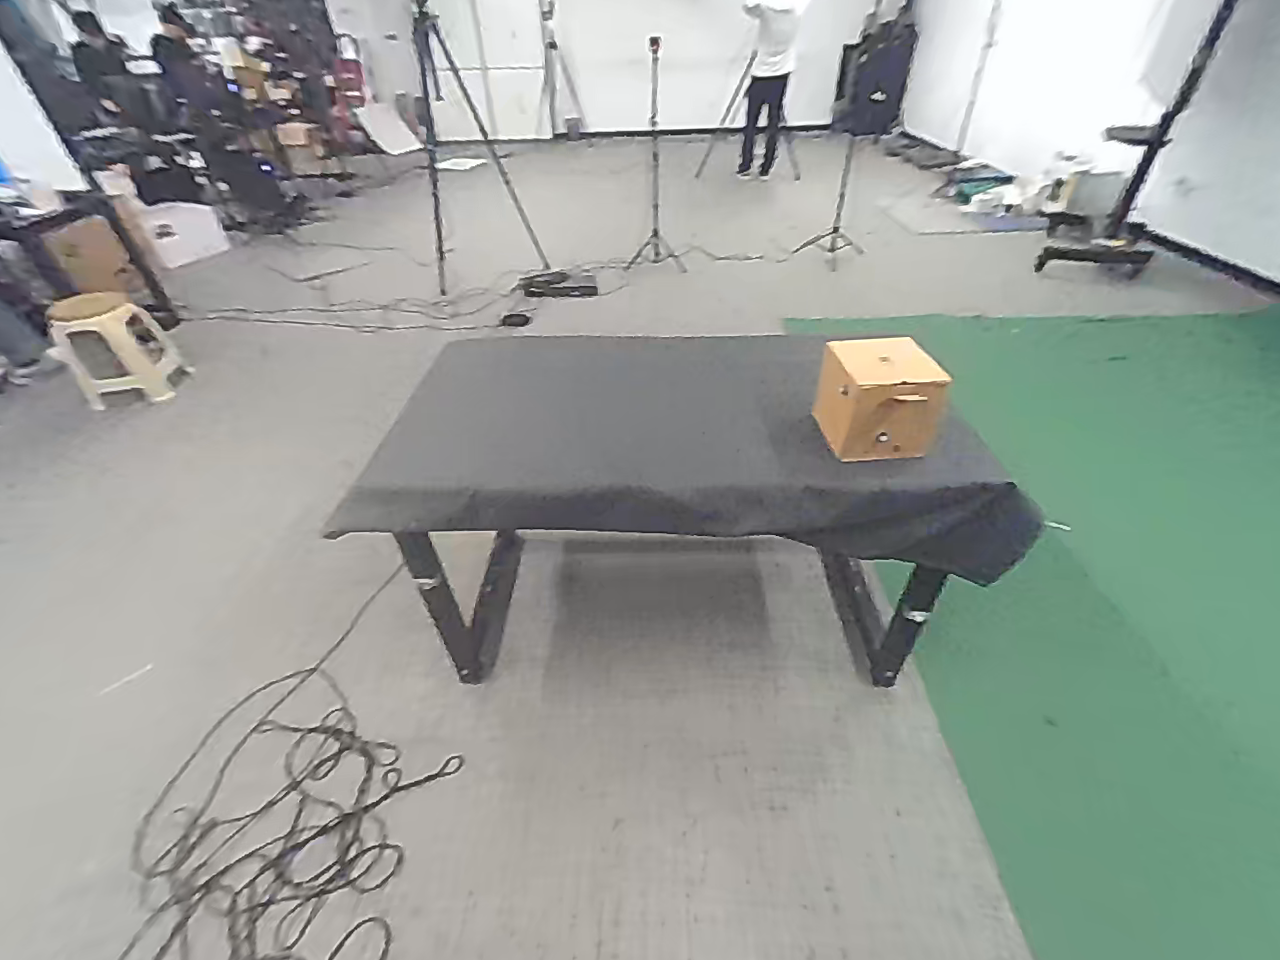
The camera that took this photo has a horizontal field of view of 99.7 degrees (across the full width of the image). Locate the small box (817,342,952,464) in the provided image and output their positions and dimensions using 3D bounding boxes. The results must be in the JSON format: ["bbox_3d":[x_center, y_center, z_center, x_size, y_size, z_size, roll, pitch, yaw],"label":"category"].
[{"bbox_3d":[0.456,-0.150,1.045,0.168,0.176,0.179,-4,40,-2],"label":"small box"}]
